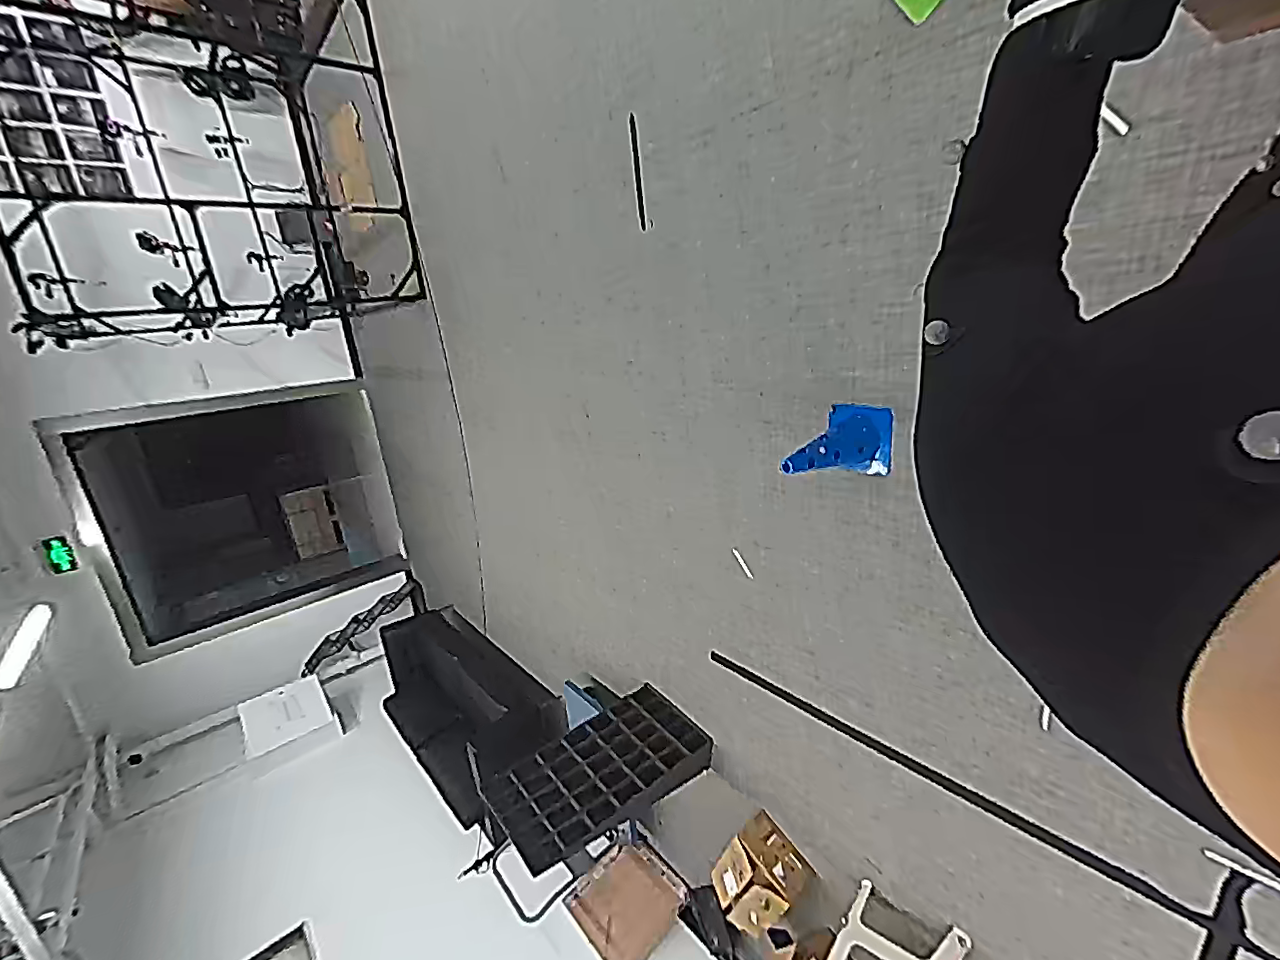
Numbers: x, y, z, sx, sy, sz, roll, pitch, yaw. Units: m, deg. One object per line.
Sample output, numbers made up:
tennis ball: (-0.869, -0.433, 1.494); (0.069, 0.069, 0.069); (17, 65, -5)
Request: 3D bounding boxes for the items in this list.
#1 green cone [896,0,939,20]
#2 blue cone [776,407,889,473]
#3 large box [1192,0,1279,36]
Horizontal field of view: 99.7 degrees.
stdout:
green cone: (0.498, -1.118, 1.077); (0.200, 0.368, 0.202); (62, 144, 14)
blue cone: (0.524, -0.079, 1.524); (0.192, 0.380, 0.193); (19, 119, 48)
large box: (0.523, -0.468, 0.215); (0.408, 0.320, 0.320); (13, 120, 48)
